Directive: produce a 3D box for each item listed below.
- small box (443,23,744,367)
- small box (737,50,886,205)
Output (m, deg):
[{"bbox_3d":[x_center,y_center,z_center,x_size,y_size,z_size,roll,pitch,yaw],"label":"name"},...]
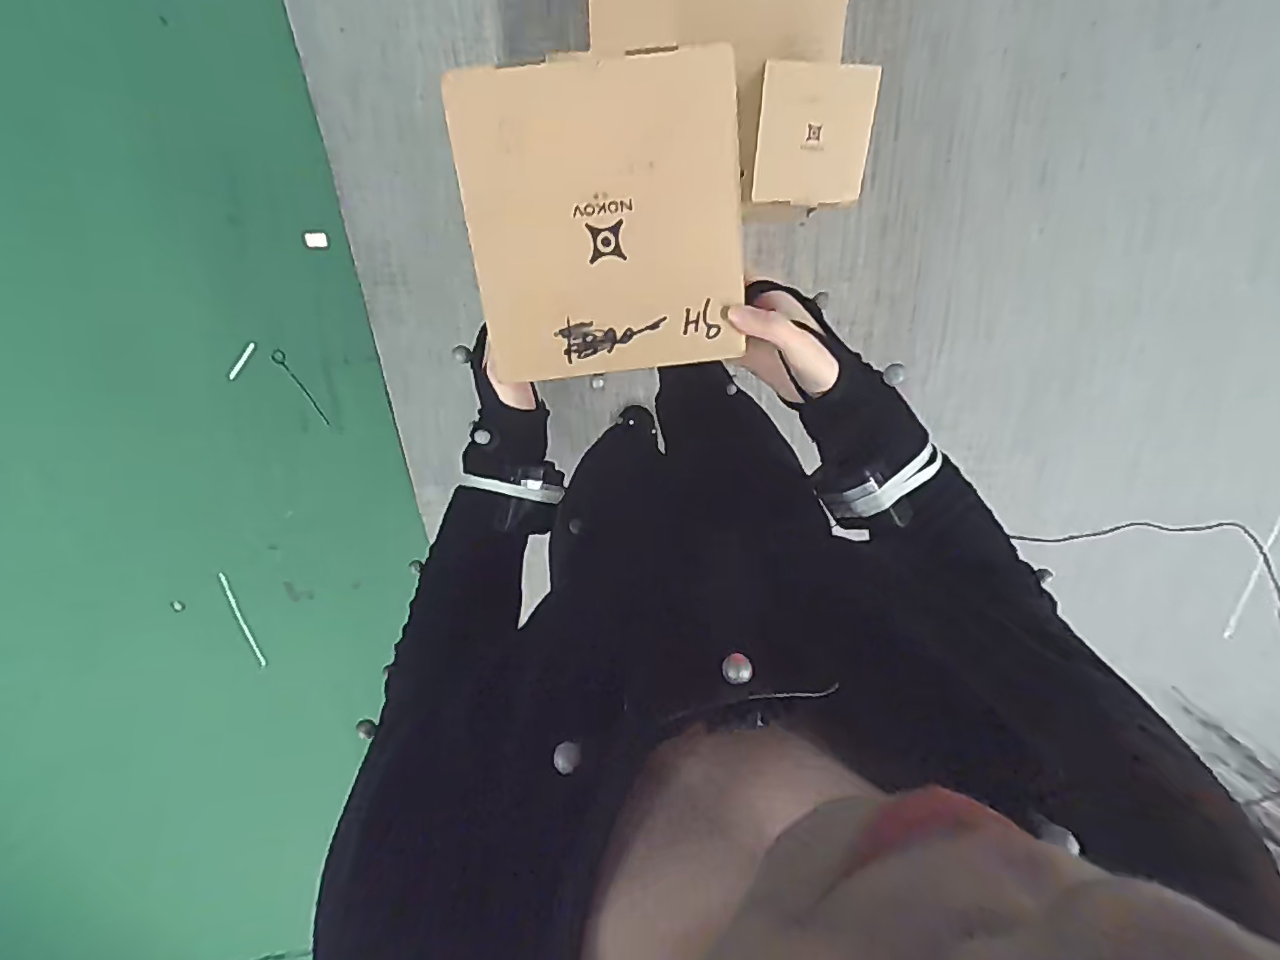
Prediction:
[{"bbox_3d":[-0.025,-0.188,0.400,0.168,0.176,0.179,-7,109,0],"label":"small box"},{"bbox_3d":[0.247,-0.529,0.836,0.168,0.176,0.179,1,114,-3],"label":"small box"}]
